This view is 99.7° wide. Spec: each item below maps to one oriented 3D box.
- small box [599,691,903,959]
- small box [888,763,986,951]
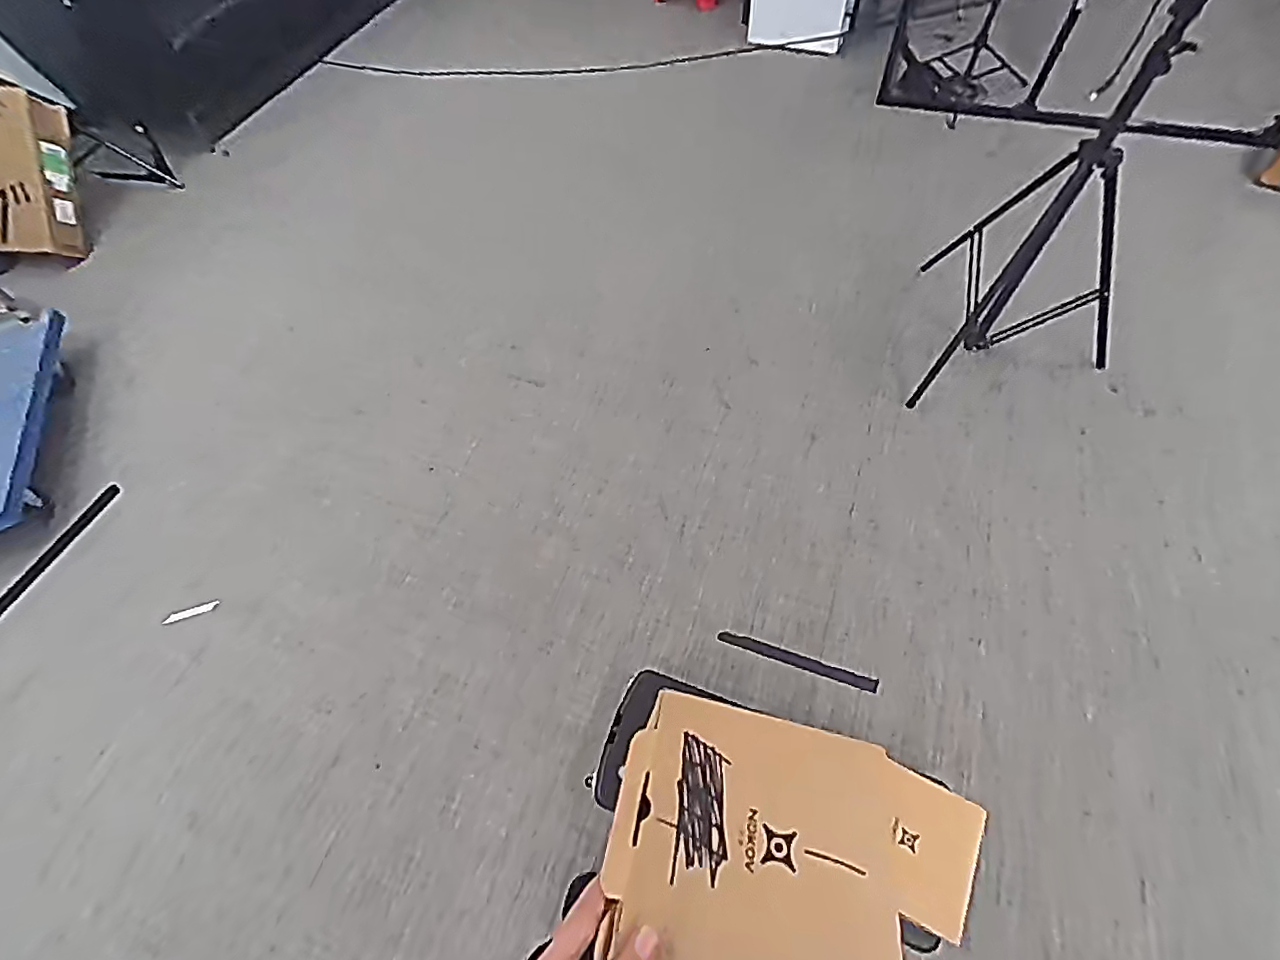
[{"bbox_3d":[0.072,0.290,0.412,0.179,0.176,0.168,14,49,3],"label":"small box"},{"bbox_3d":[0.355,0.517,0.782,0.179,0.176,0.168,23,65,18],"label":"small box"}]
